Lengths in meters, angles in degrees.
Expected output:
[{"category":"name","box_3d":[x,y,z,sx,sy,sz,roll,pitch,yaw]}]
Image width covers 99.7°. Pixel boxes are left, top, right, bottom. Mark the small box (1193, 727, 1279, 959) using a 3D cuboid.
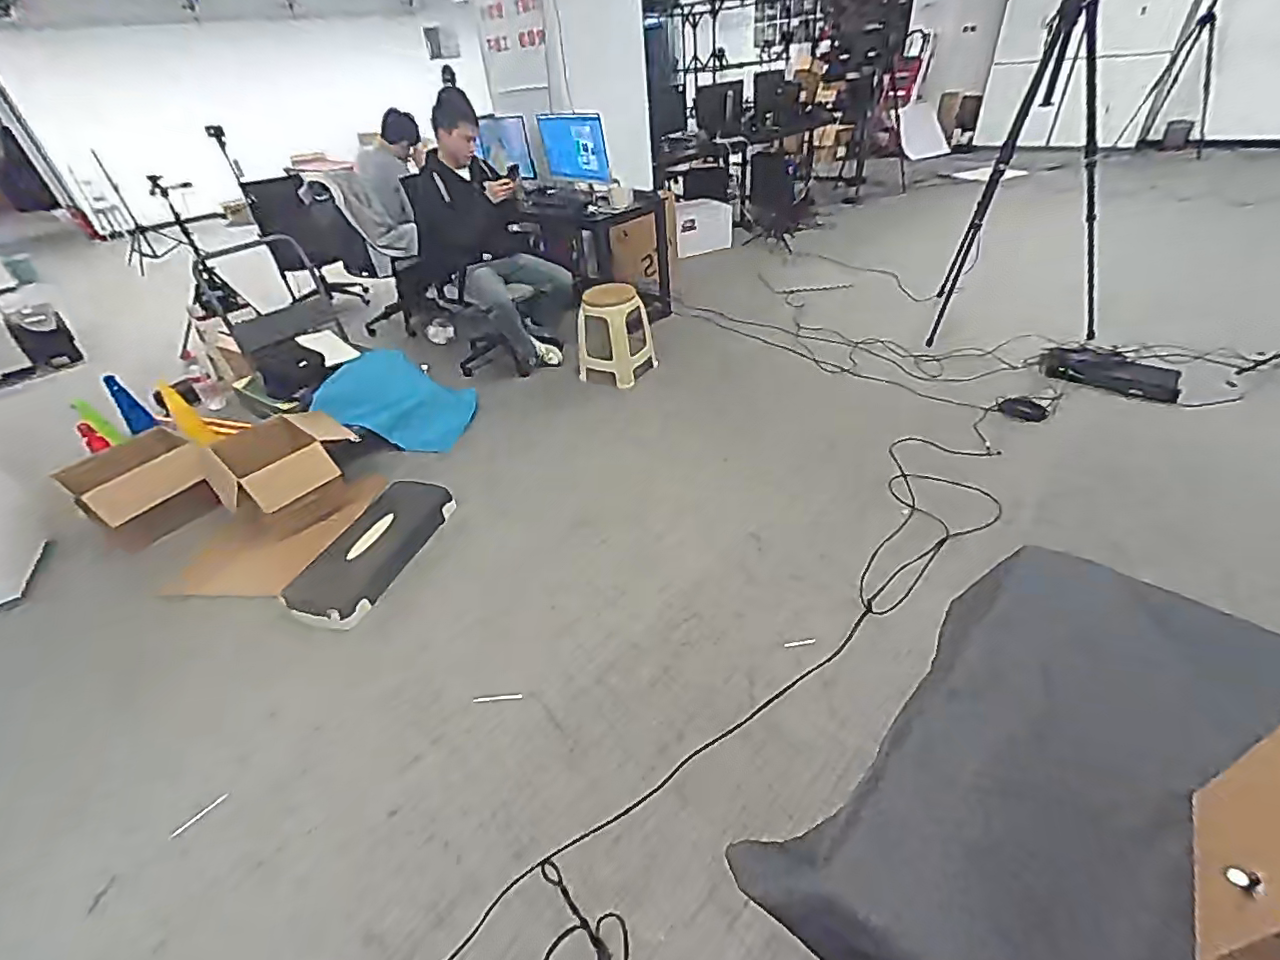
[{"category":"small box","box_3d":[0.585,0.337,0.423,0.168,0.176,0.179,22,44,30]}]
